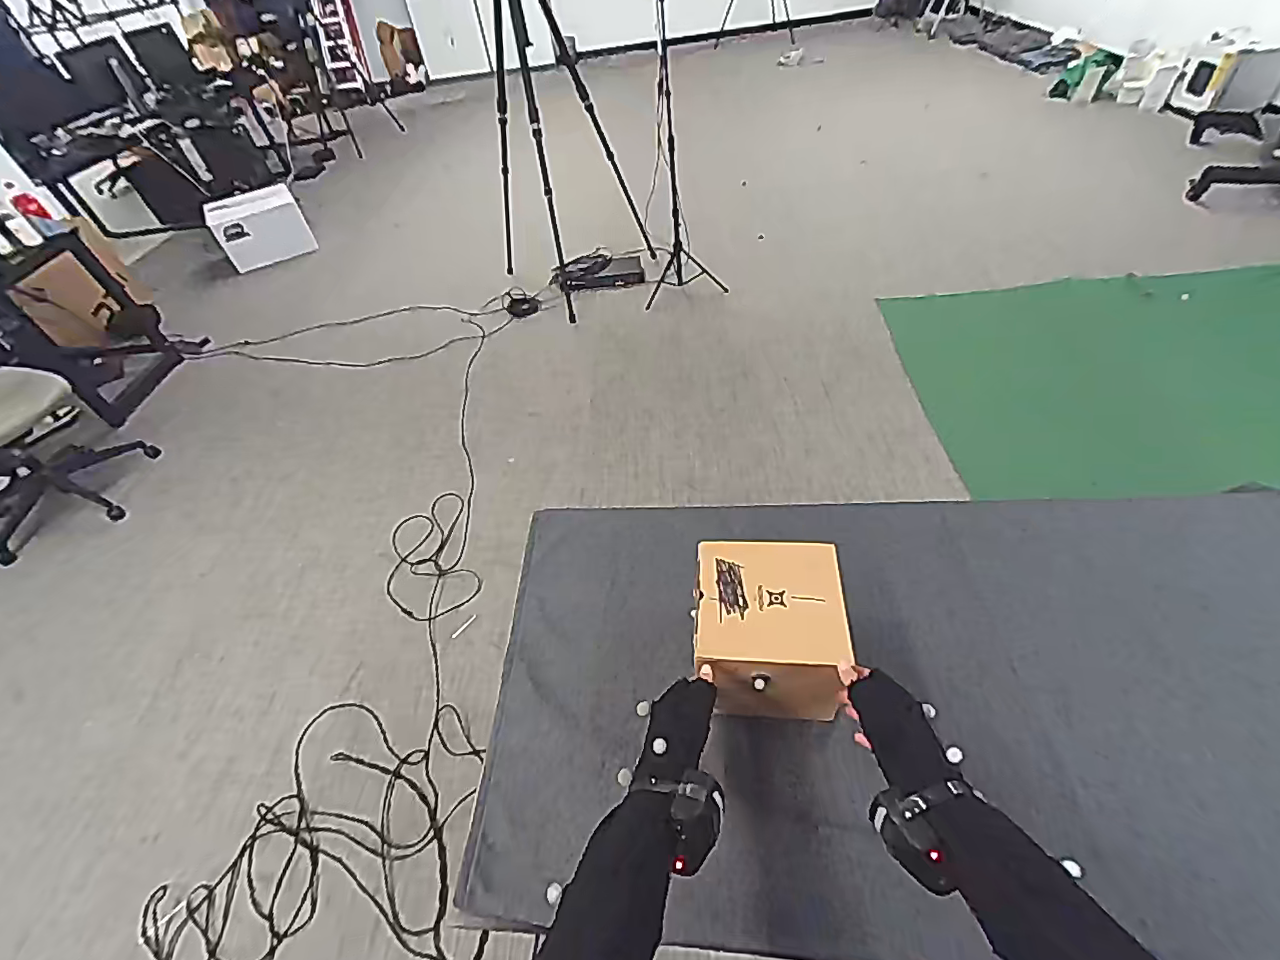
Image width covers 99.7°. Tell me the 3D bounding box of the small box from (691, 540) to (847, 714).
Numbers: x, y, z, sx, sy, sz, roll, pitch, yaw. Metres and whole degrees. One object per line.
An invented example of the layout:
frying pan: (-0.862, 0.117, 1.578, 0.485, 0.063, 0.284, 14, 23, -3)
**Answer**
small box: (0.162, 0.197, 0.720, 0.179, 0.176, 0.168, 1, 47, 8)
